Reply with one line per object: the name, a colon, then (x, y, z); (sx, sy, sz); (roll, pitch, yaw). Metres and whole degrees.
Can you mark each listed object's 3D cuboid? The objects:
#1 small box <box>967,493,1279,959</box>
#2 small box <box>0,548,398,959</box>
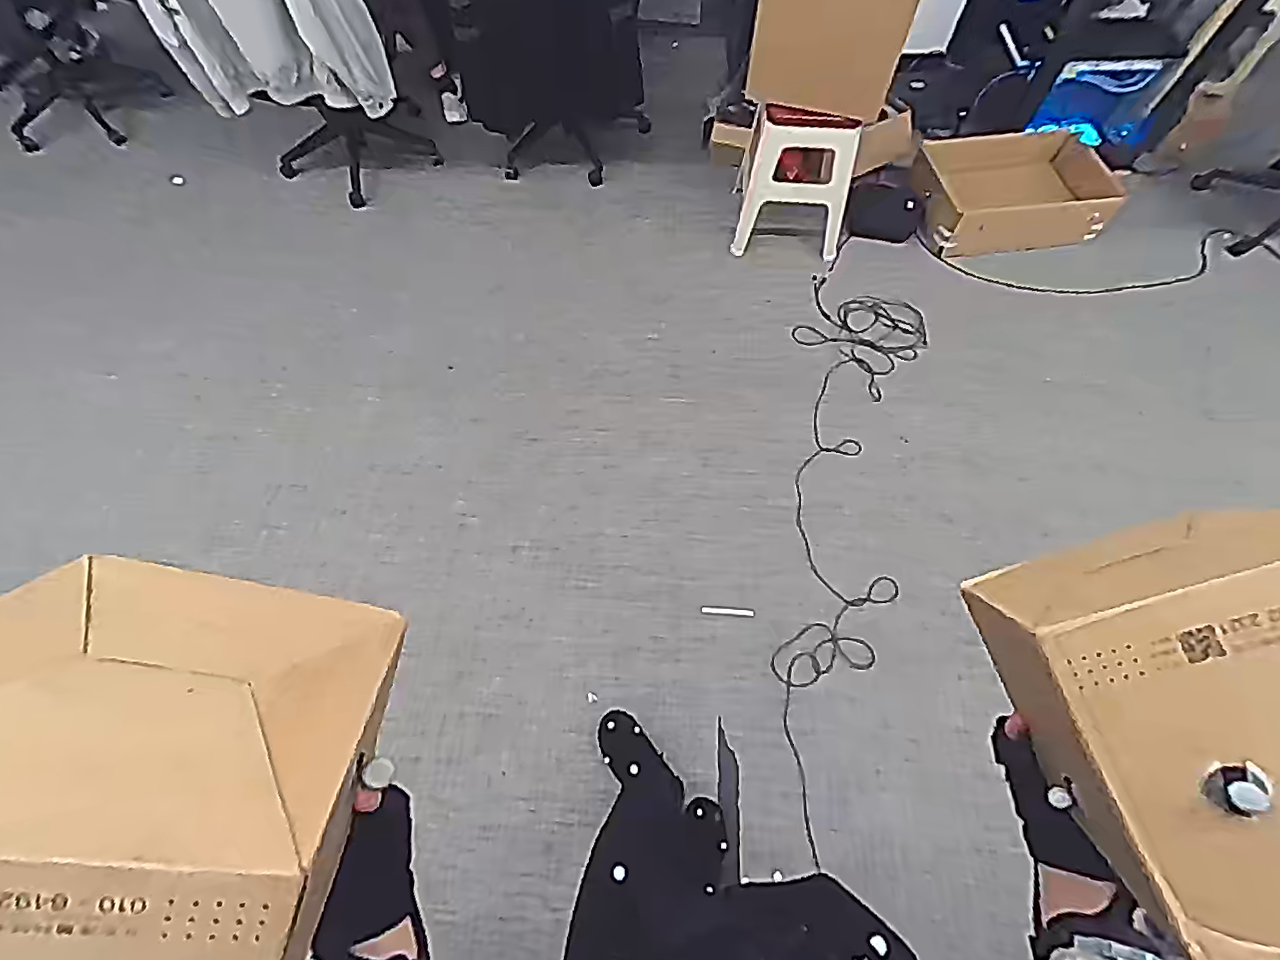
small box: (0.320, 0.110, 0.309); (0.168, 0.179, 0.176); (-23, 81, 17)
small box: (-0.224, 0.145, 0.236); (0.168, 0.179, 0.176); (16, 99, -16)
